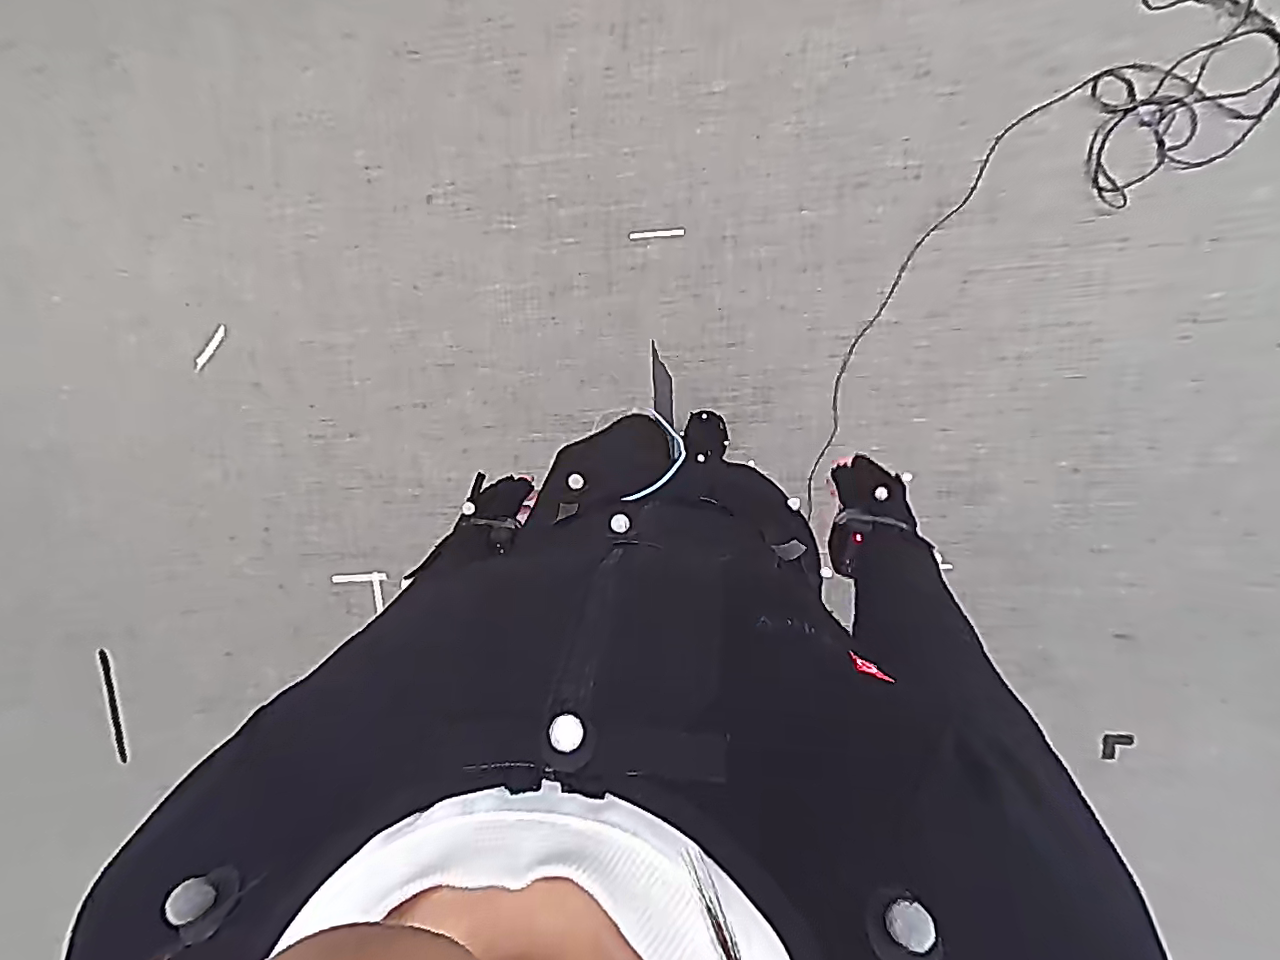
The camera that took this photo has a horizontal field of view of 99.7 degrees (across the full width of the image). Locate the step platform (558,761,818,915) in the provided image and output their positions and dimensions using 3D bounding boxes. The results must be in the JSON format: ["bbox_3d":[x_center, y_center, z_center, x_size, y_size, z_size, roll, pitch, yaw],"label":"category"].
[{"bbox_3d":[0.123,0.954,1.458,0.684,0.204,0.286,-3,96,9],"label":"step platform"}]
